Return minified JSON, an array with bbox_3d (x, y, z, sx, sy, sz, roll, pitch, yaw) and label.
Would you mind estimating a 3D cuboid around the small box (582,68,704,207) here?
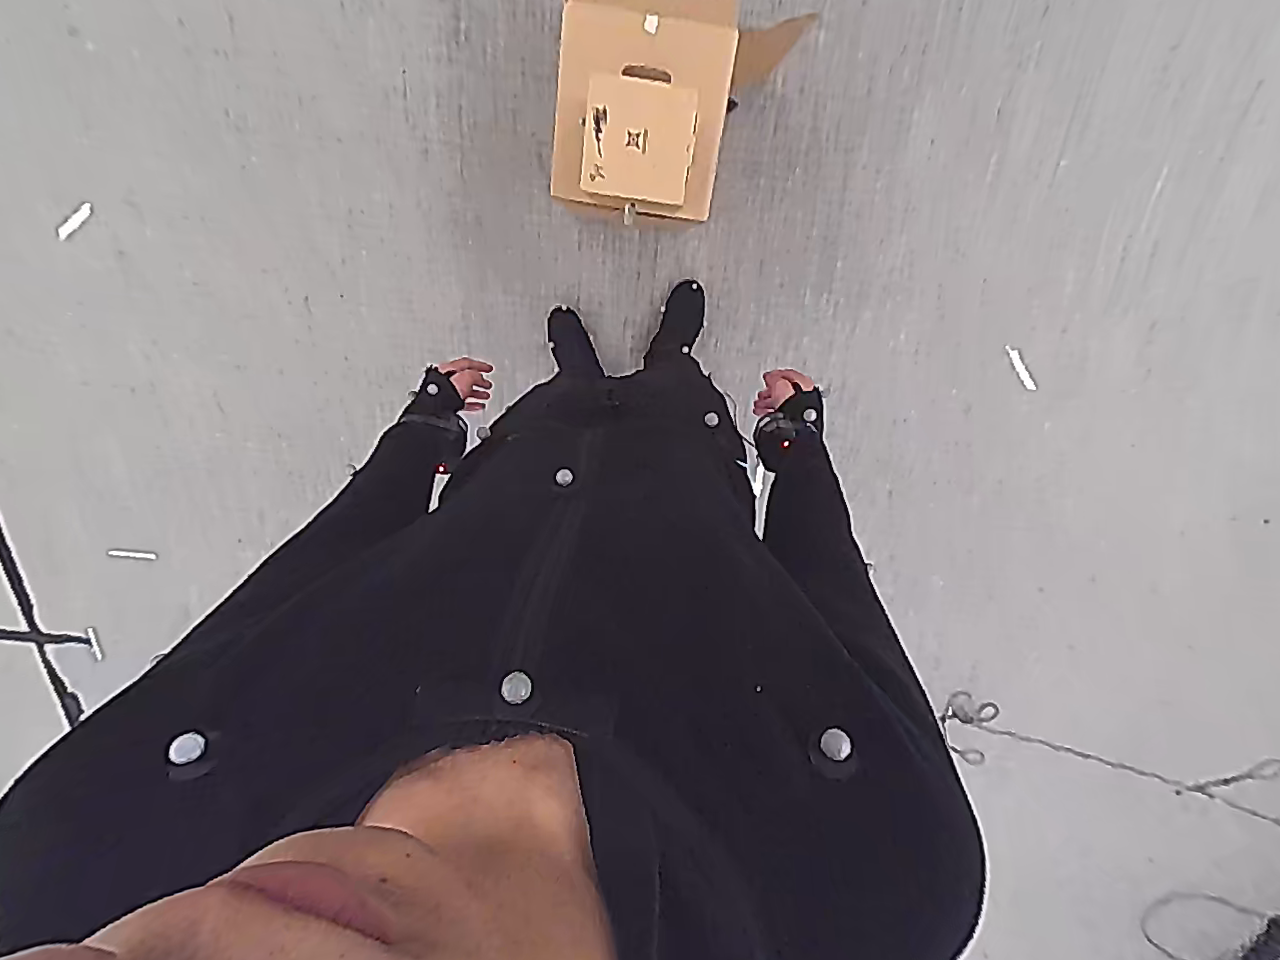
[{"bbox_3d":[0.001,-0.572,0.927,0.179,0.176,0.168,7,113,-4],"label":"small box"}]
